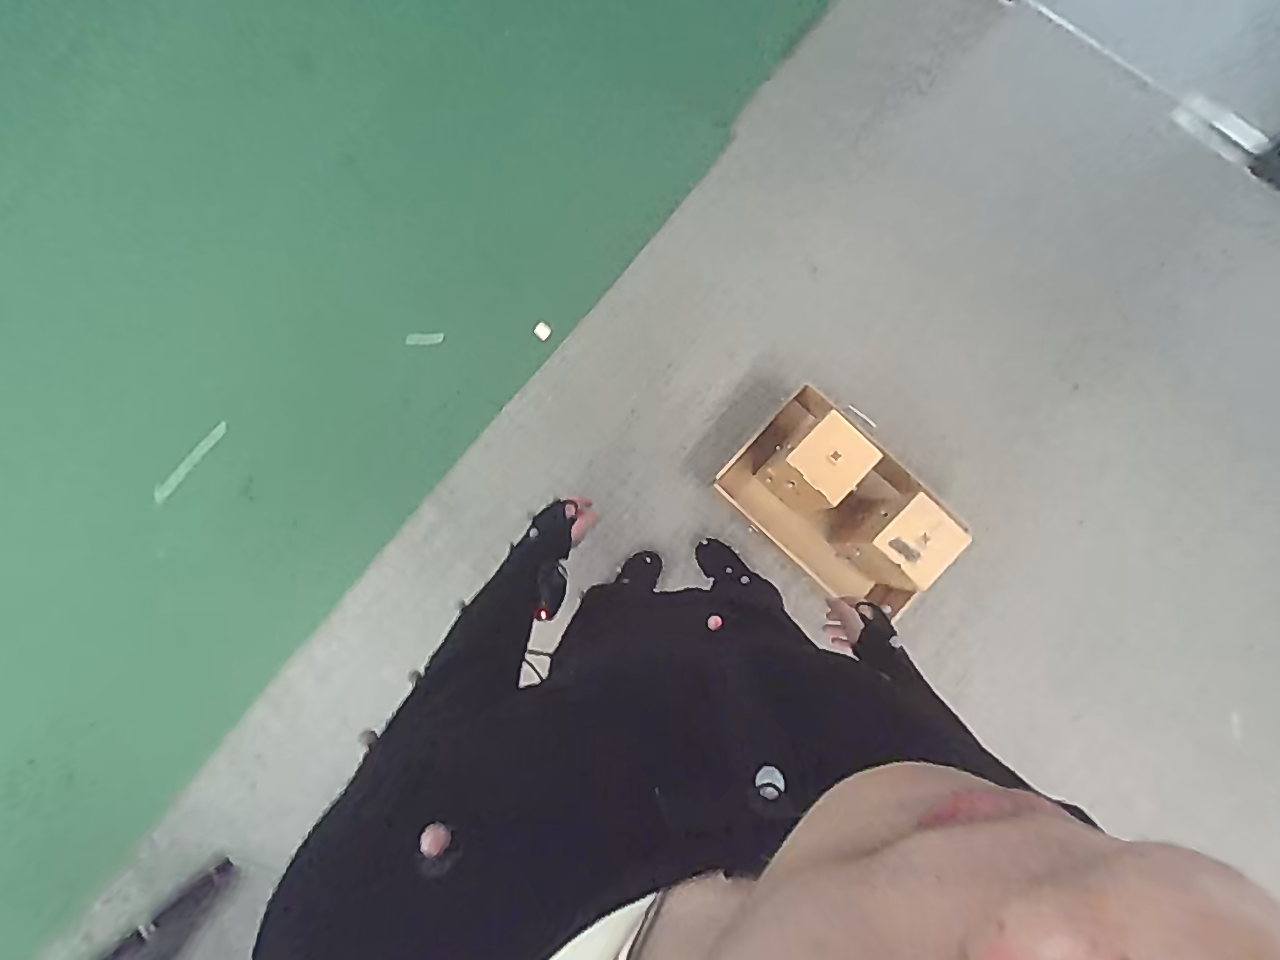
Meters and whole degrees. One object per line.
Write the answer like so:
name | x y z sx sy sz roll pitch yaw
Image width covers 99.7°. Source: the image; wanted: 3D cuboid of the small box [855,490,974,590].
small box | 0.663 0.149 1.338 0.179 0.176 0.168 -44 85 -5

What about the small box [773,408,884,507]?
small box | 0.462 -0.050 1.358 0.168 0.176 0.179 45 86 3
